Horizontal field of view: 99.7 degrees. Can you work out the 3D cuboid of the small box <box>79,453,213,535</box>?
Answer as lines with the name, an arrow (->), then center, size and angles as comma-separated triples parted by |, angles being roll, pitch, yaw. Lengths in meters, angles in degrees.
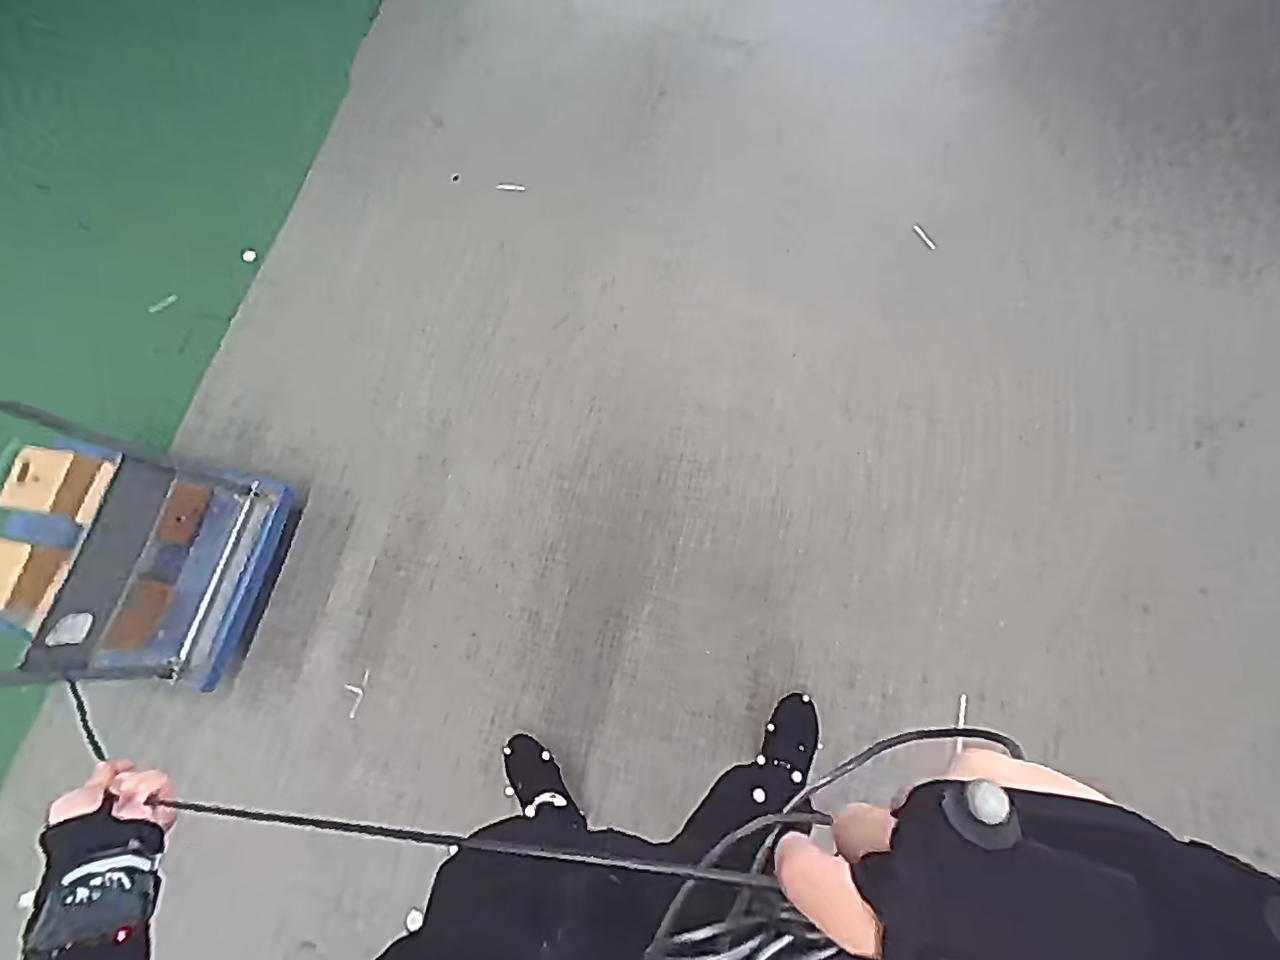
small box -> -1.335, 0.044, 1.472 | 0.179, 0.176, 0.168 | 13, 75, 10

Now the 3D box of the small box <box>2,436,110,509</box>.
small box -> -1.595, -0.009, 1.523 | 0.179, 0.176, 0.168 | 8, 75, 9

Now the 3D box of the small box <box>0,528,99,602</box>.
small box -> -1.637, 0.230, 1.456 | 0.179, 0.176, 0.168 | 8, 74, 10
